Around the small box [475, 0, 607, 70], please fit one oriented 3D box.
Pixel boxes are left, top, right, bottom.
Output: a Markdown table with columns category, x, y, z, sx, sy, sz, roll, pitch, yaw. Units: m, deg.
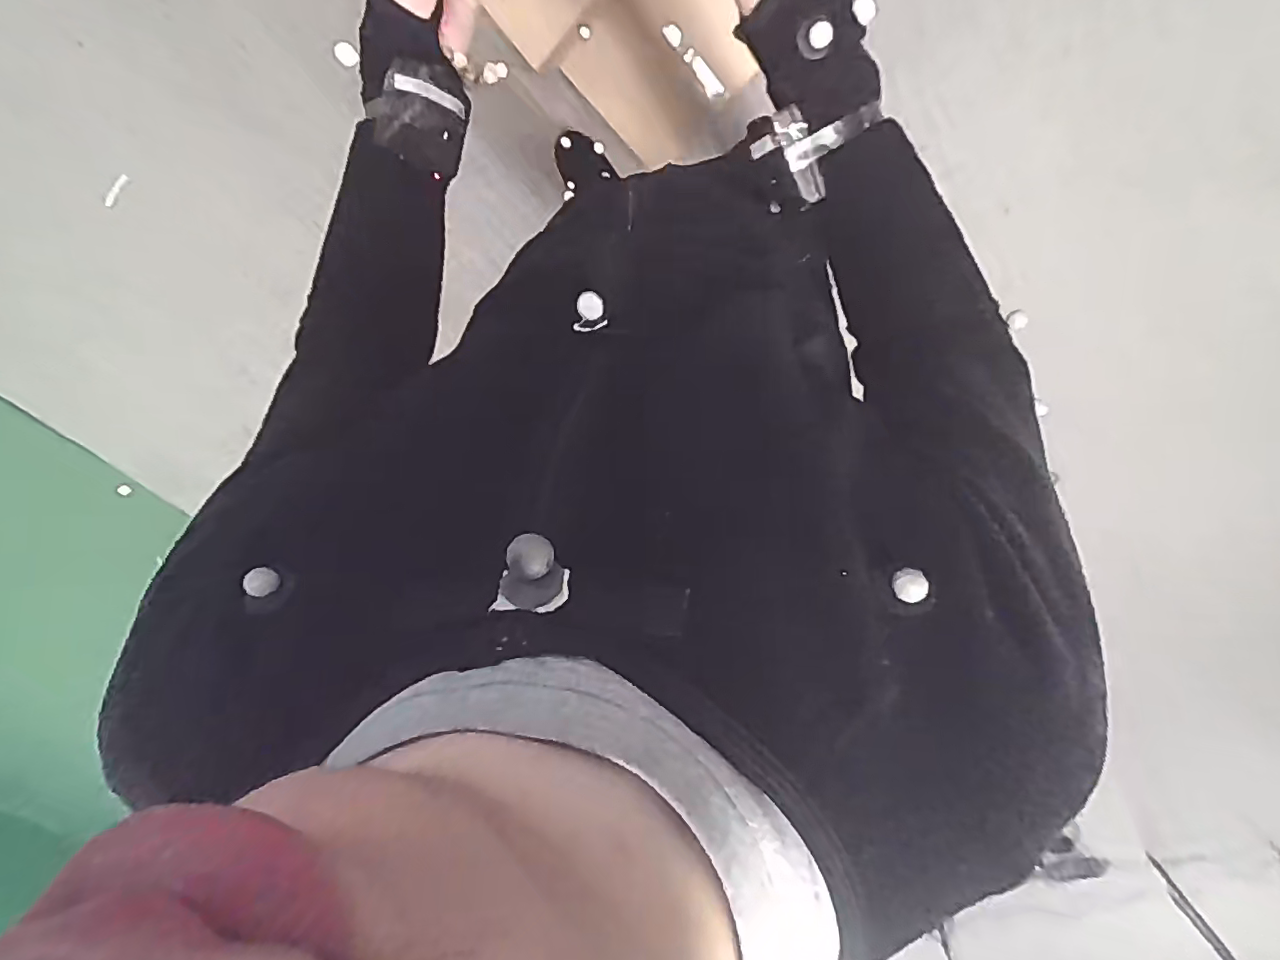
| category | x | y | z | sx | sy | sz | roll | pitch | yaw |
| --- | --- | --- | --- | --- | --- | --- | --- | --- | --- |
| small box | -0.143 | -0.729 | 0.764 | 0.179 | 0.176 | 0.168 | -33 | 119 | 26 |
